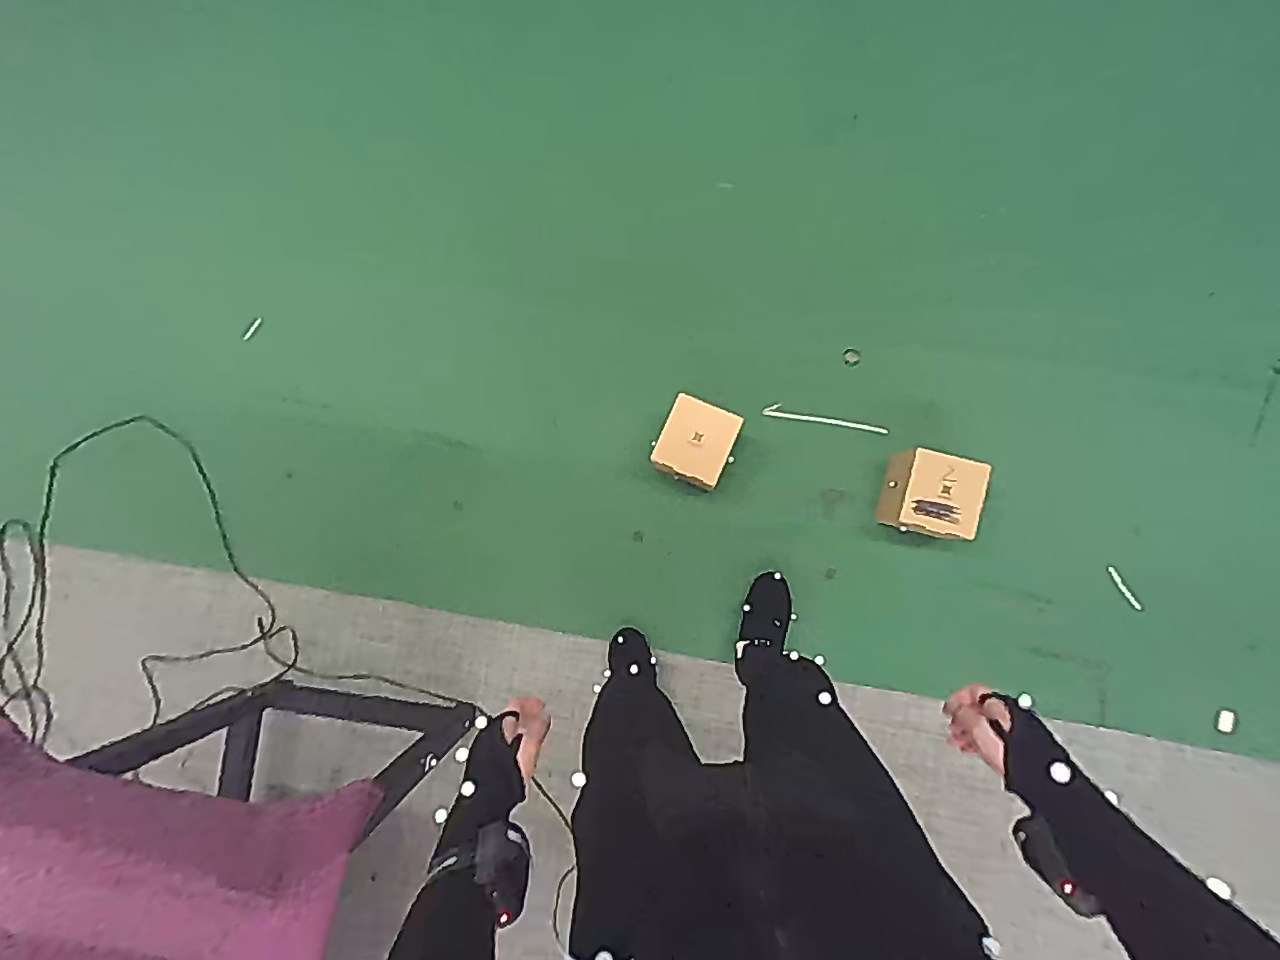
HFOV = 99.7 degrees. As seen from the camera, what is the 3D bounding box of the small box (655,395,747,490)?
[{"bbox_3d":[0.147,-0.086,1.336,0.168,0.176,0.179,24,89,6],"label":"small box"}]
